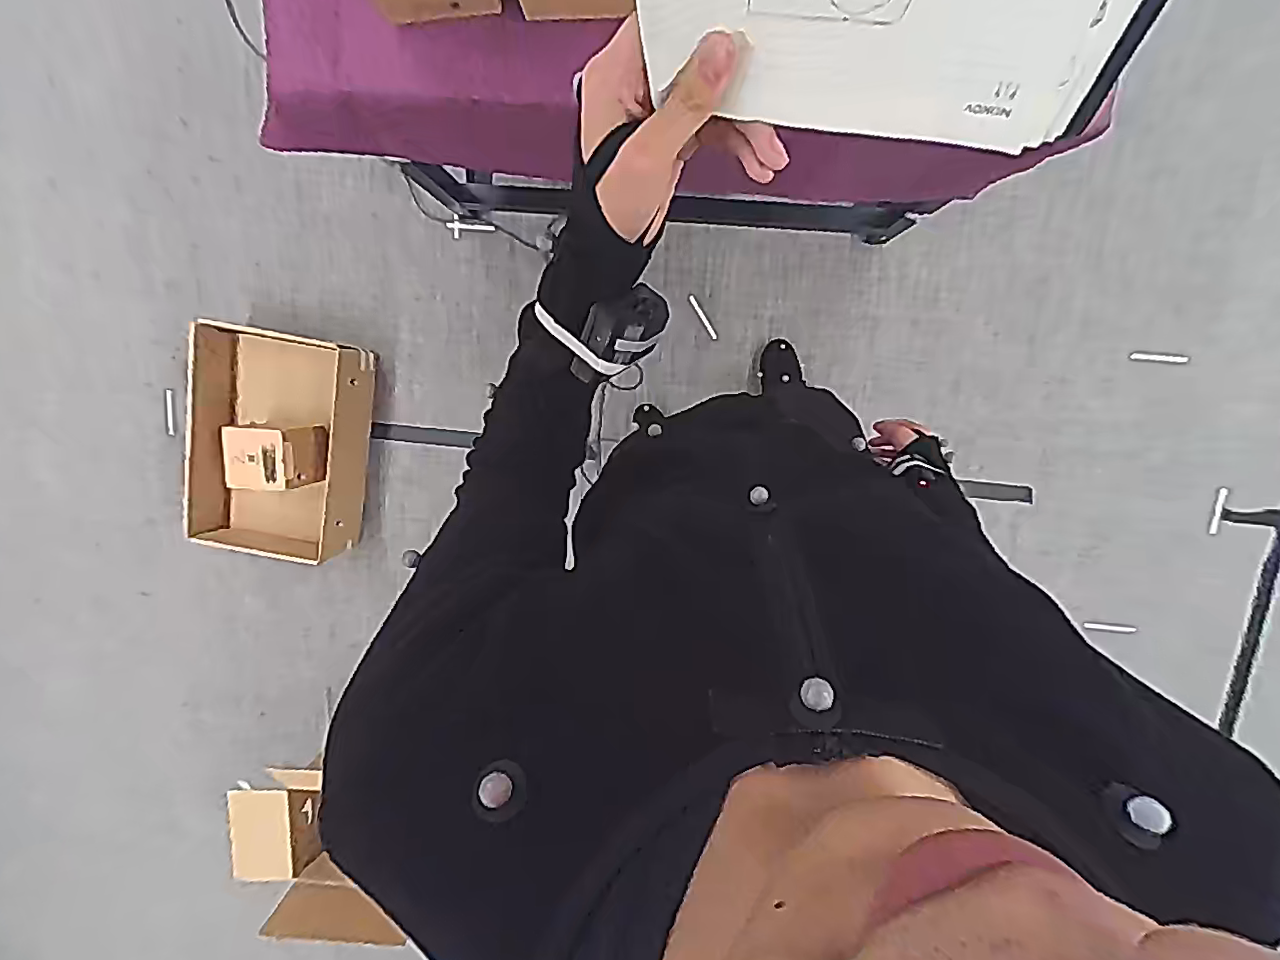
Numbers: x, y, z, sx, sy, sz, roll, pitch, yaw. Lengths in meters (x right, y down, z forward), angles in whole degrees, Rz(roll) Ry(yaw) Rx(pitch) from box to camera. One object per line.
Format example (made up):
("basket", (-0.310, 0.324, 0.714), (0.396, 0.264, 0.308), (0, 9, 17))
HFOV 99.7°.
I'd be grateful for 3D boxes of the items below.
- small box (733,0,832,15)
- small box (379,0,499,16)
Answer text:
("small box", (0.188, -0.723, 0.662), (0.168, 0.176, 0.179), (8, 99, 1))
("small box", (-0.285, -0.730, 0.682), (0.168, 0.176, 0.179), (-3, 99, 2))
